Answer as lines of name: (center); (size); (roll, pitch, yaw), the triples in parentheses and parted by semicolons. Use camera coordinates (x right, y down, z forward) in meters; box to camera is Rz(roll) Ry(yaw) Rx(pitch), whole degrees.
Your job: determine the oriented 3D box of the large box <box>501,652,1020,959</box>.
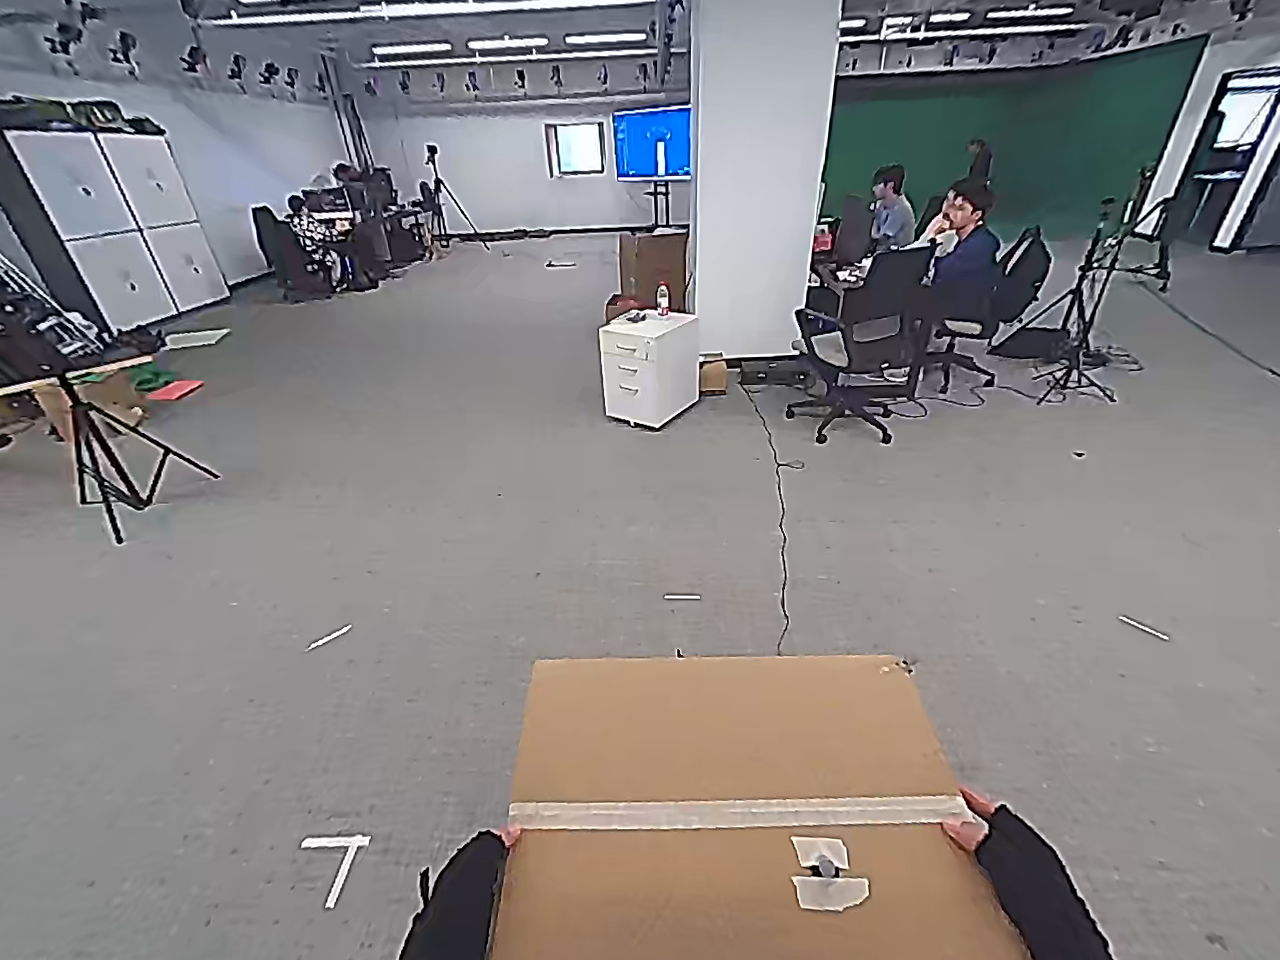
large box: (0.092, 0.412, 0.592); (0.408, 0.320, 0.320); (-1, 41, 1)
